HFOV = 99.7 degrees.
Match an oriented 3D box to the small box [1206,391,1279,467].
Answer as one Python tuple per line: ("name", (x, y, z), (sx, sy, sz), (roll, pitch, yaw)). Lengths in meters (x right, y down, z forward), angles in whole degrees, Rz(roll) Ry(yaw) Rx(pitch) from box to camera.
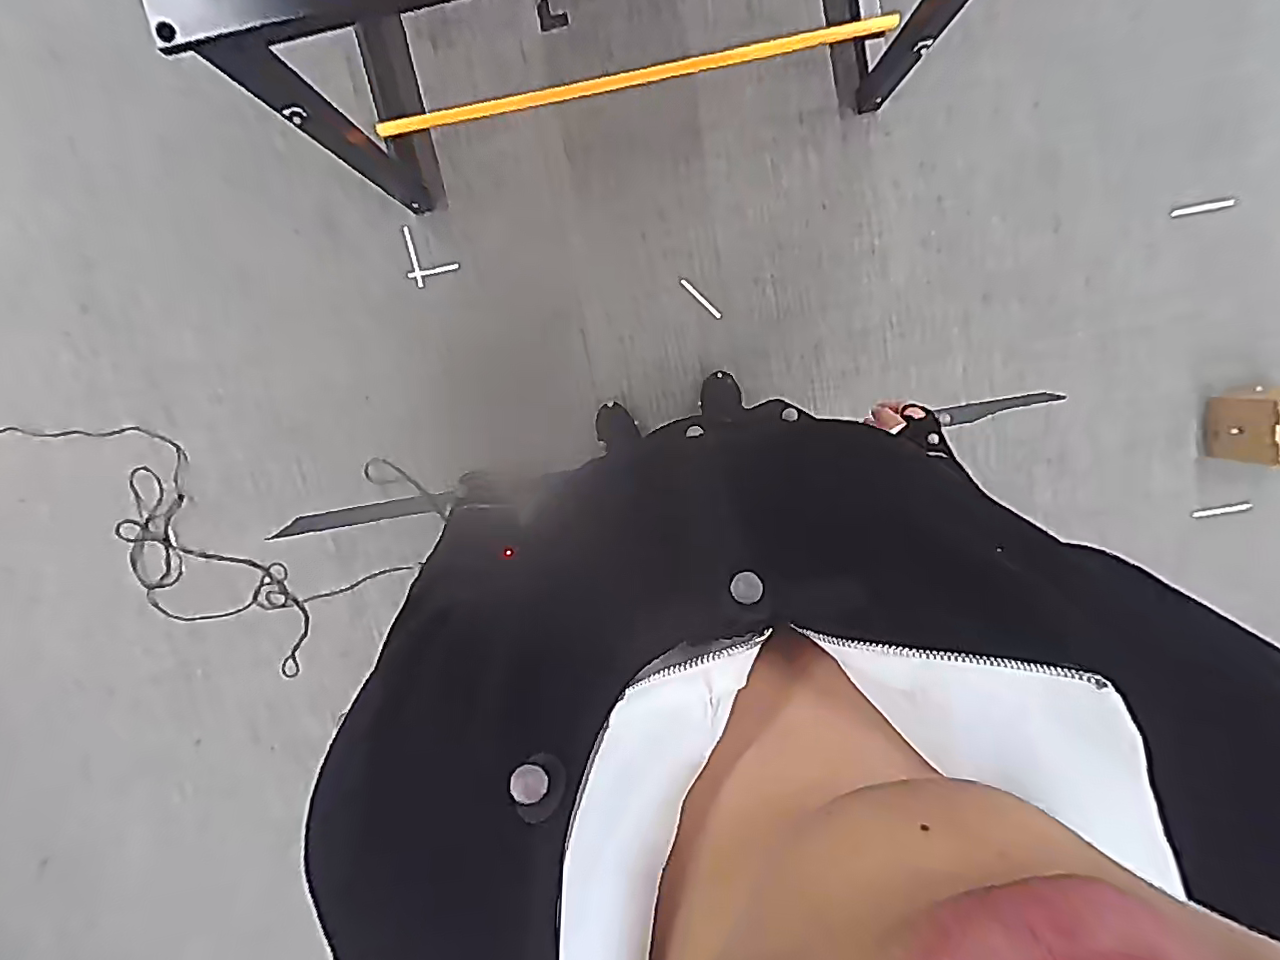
("small box", (1.603, -0.134, 1.372), (0.179, 0.176, 0.168), (-9, 100, 3))
